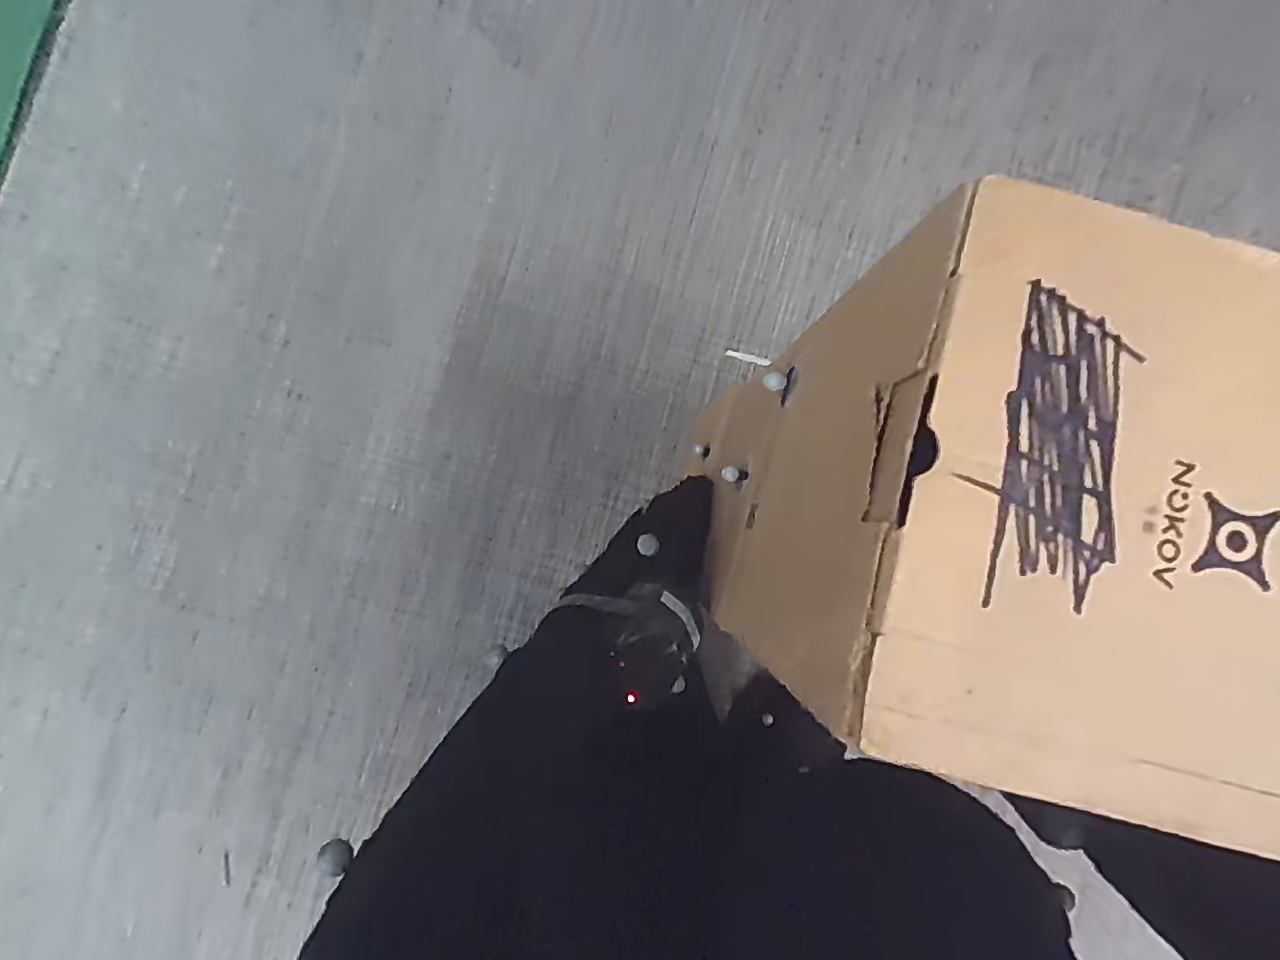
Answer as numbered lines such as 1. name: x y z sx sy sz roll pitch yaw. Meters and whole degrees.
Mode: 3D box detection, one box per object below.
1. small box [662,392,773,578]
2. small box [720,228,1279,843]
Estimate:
1. small box: 0.133 0.023 0.563 0.179 0.176 0.168 15 86 -3
2. small box: 0.149 0.021 0.254 0.179 0.176 0.168 16 87 -2
